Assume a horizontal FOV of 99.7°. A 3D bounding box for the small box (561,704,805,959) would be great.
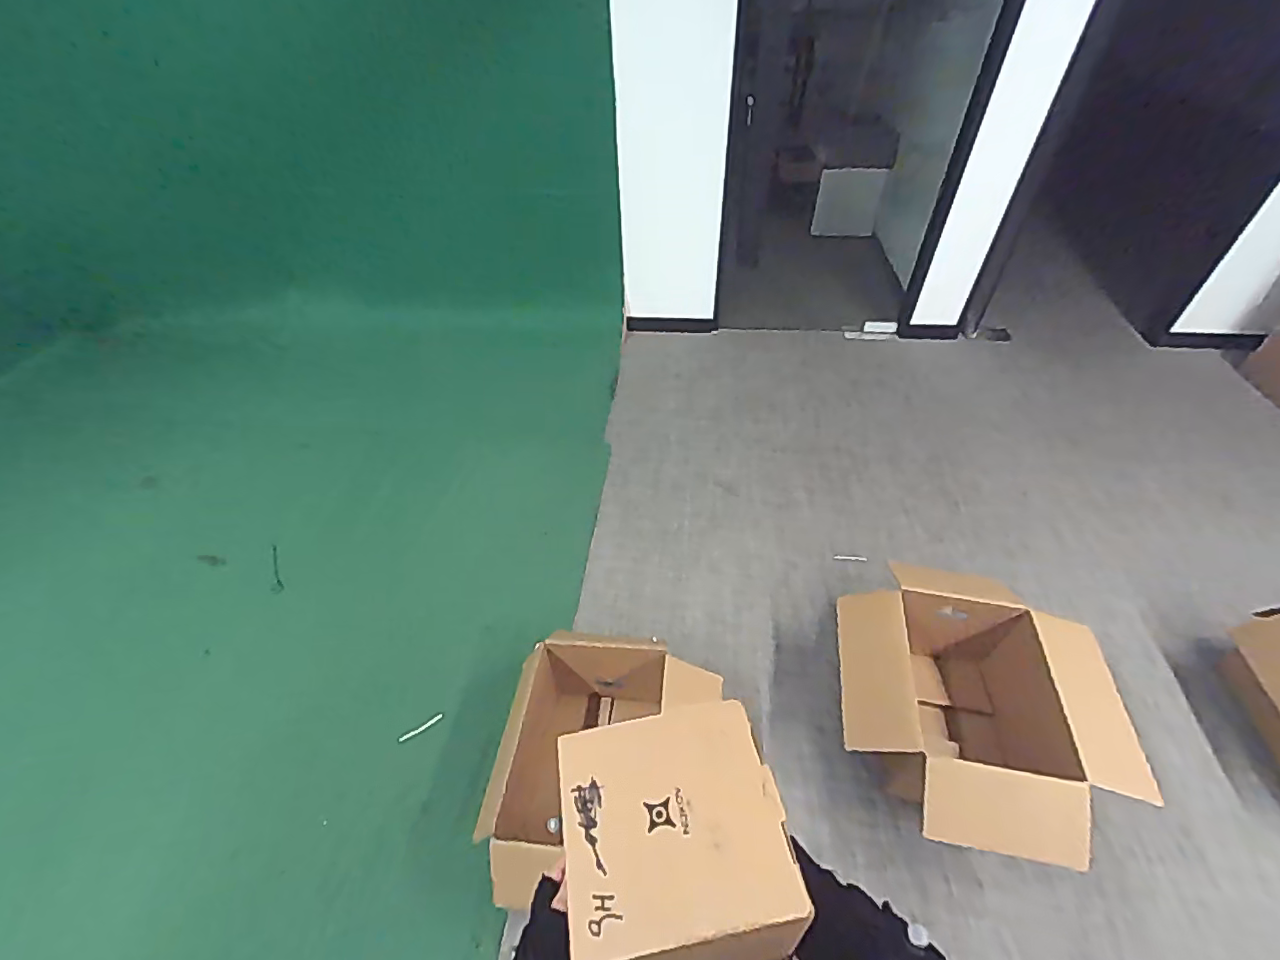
[{"bbox_3d":[0.026,0.333,0.492,0.179,0.176,0.168,-7,39,-5],"label":"small box"}]
